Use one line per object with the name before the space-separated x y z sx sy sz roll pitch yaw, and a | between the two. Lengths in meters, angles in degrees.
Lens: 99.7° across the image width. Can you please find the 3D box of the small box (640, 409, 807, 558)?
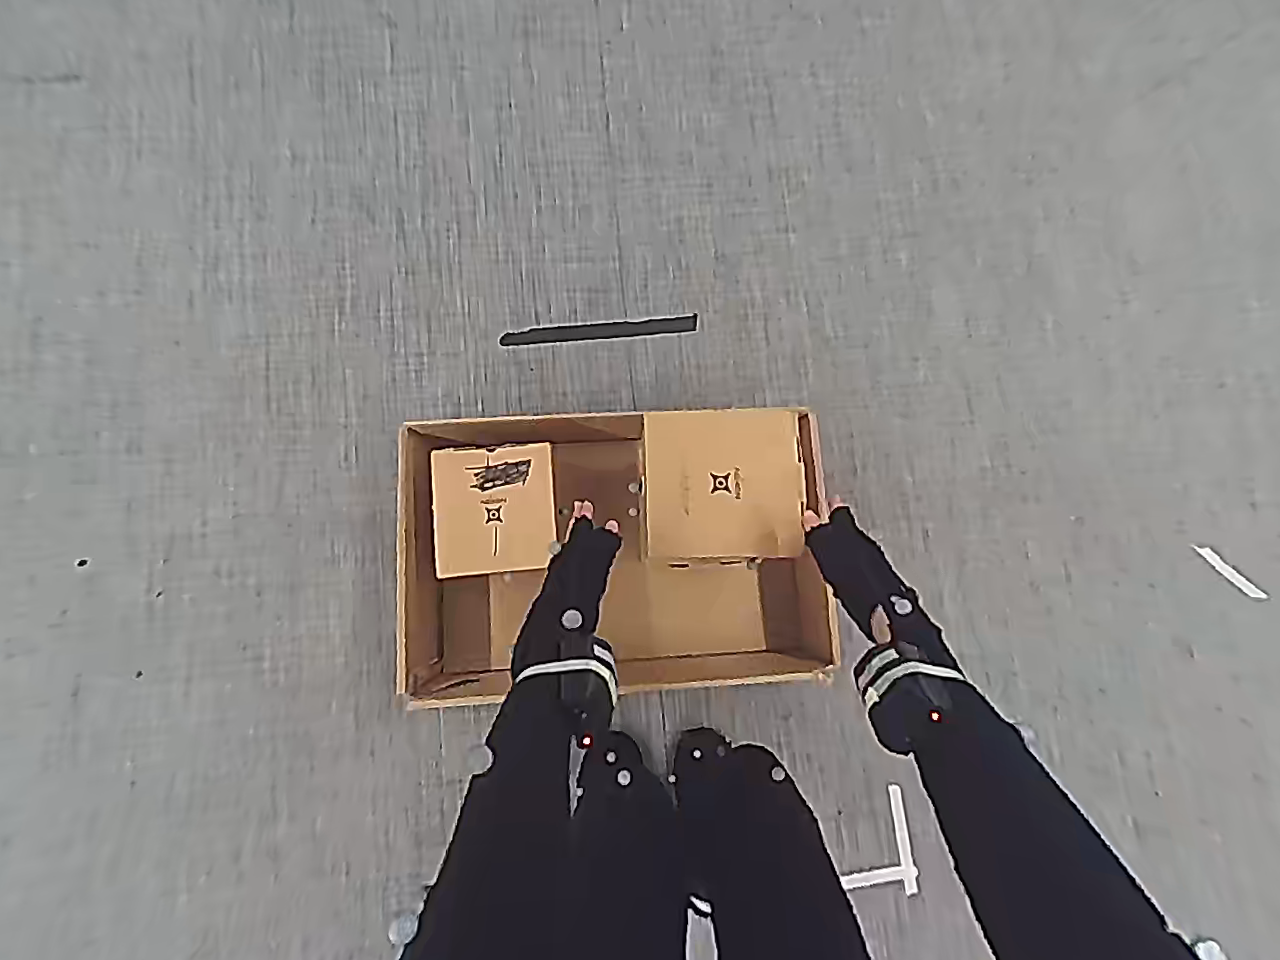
small box | 0.091 0.012 0.673 0.179 0.176 0.168 -2 81 -1

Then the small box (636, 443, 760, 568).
small box | 0.081 0.038 0.834 0.168 0.176 0.179 -3 84 -3
